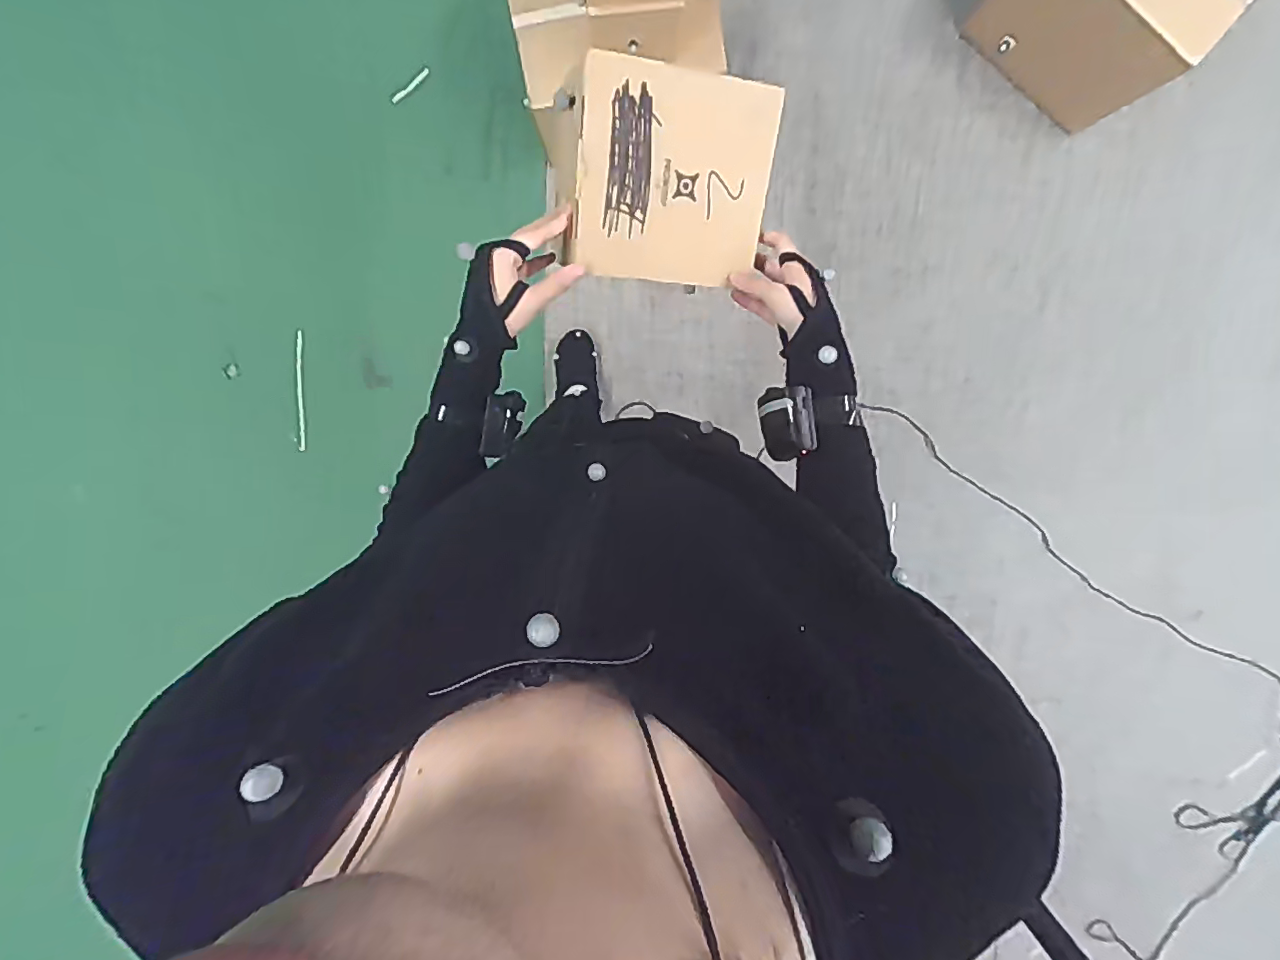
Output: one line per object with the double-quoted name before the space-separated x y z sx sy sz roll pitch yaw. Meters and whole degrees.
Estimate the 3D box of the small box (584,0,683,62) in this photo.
"small box" -0.018 -0.875 0.953 0.168 0.176 0.179 -6 100 -1

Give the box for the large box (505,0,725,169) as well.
"large box" -0.056 -0.942 1.190 0.408 0.320 0.320 -11 99 2
